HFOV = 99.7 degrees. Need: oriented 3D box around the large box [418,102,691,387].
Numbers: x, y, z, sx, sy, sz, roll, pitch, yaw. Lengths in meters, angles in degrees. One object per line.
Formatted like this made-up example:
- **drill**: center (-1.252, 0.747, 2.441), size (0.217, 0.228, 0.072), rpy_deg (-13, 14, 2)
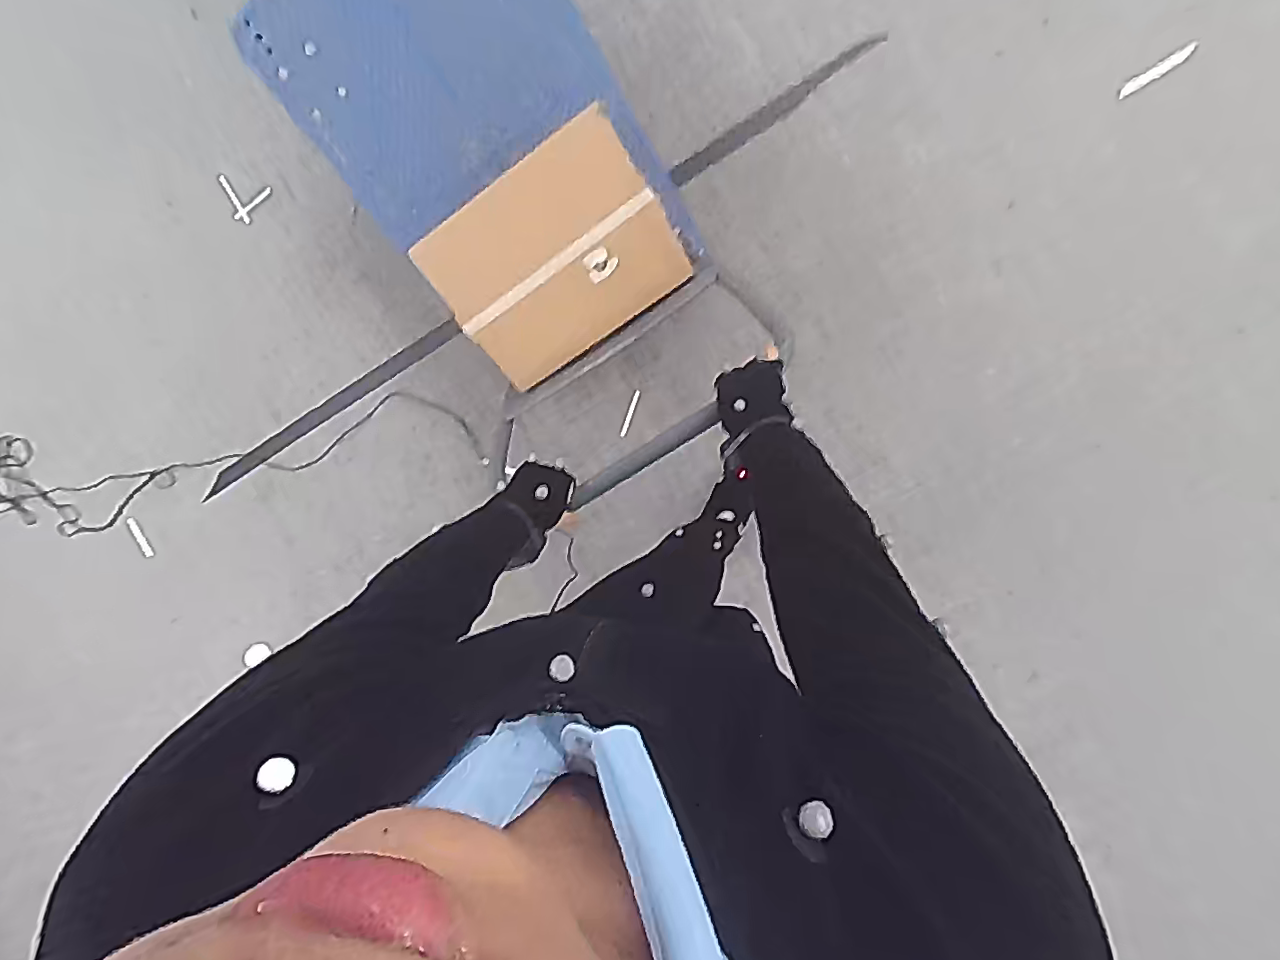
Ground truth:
- **large box**: center (-0.164, -0.462, 1.105), size (0.408, 0.320, 0.320), rpy_deg (-33, 116, 10)
